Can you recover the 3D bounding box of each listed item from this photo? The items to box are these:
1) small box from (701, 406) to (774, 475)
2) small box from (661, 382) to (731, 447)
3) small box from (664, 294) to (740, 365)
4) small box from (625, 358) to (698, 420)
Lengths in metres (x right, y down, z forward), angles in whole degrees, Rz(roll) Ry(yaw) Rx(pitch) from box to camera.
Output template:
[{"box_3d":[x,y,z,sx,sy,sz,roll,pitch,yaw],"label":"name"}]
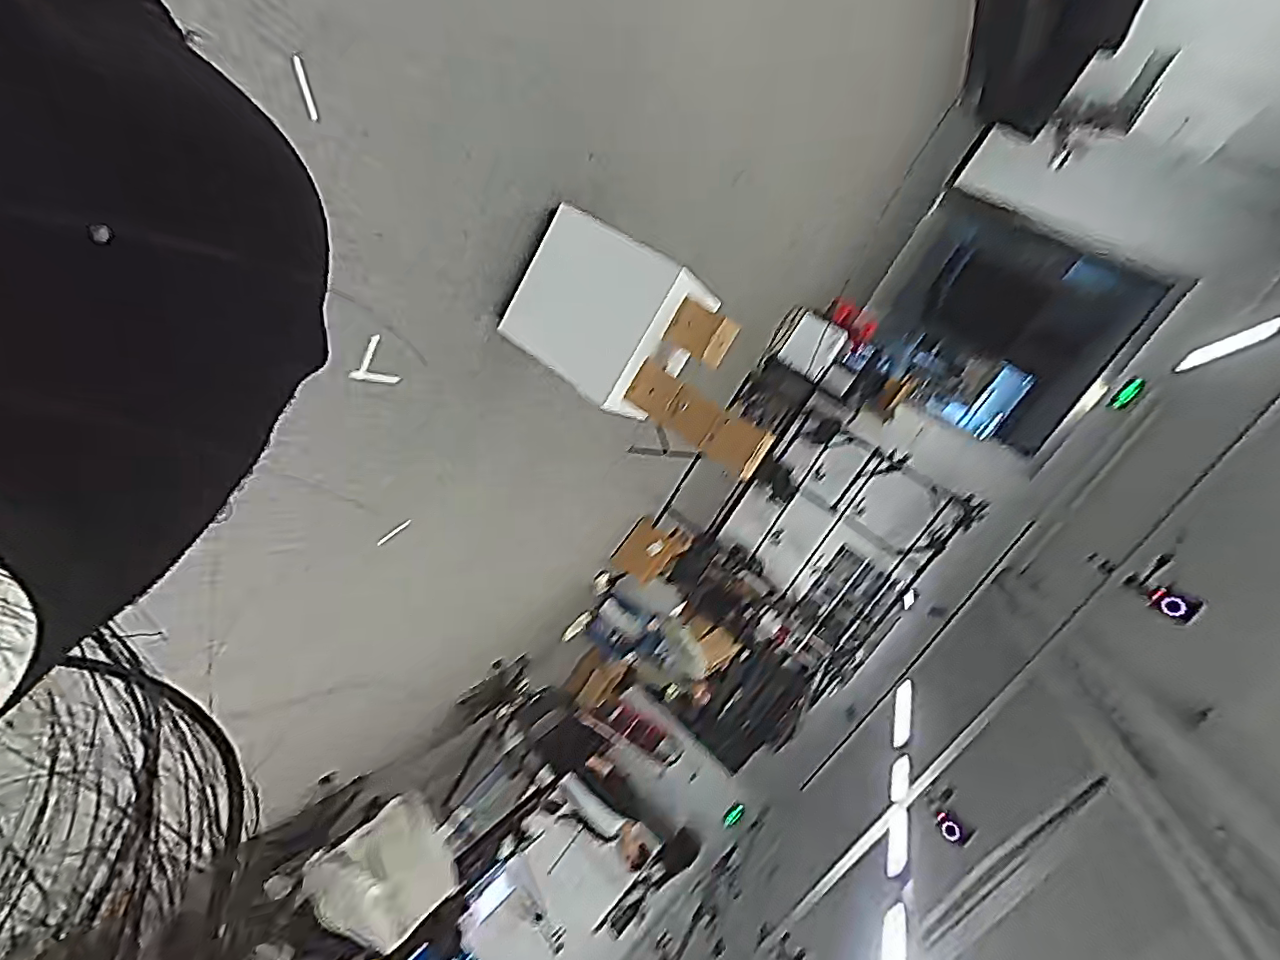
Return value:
[{"box_3d":[0.326,-0.132,1.814,0.168,0.176,0.179,-59,161,11],"label":"small box"},{"box_3d":[0.203,-0.224,1.874,0.168,0.176,0.179,-60,158,12],"label":"small box"},{"box_3d":[0.214,-0.524,1.881,0.168,0.176,0.179,-59,158,16],"label":"small box"},{"box_3d":[0.075,-0.314,1.923,0.168,0.176,0.179,-60,157,12],"label":"small box"}]
